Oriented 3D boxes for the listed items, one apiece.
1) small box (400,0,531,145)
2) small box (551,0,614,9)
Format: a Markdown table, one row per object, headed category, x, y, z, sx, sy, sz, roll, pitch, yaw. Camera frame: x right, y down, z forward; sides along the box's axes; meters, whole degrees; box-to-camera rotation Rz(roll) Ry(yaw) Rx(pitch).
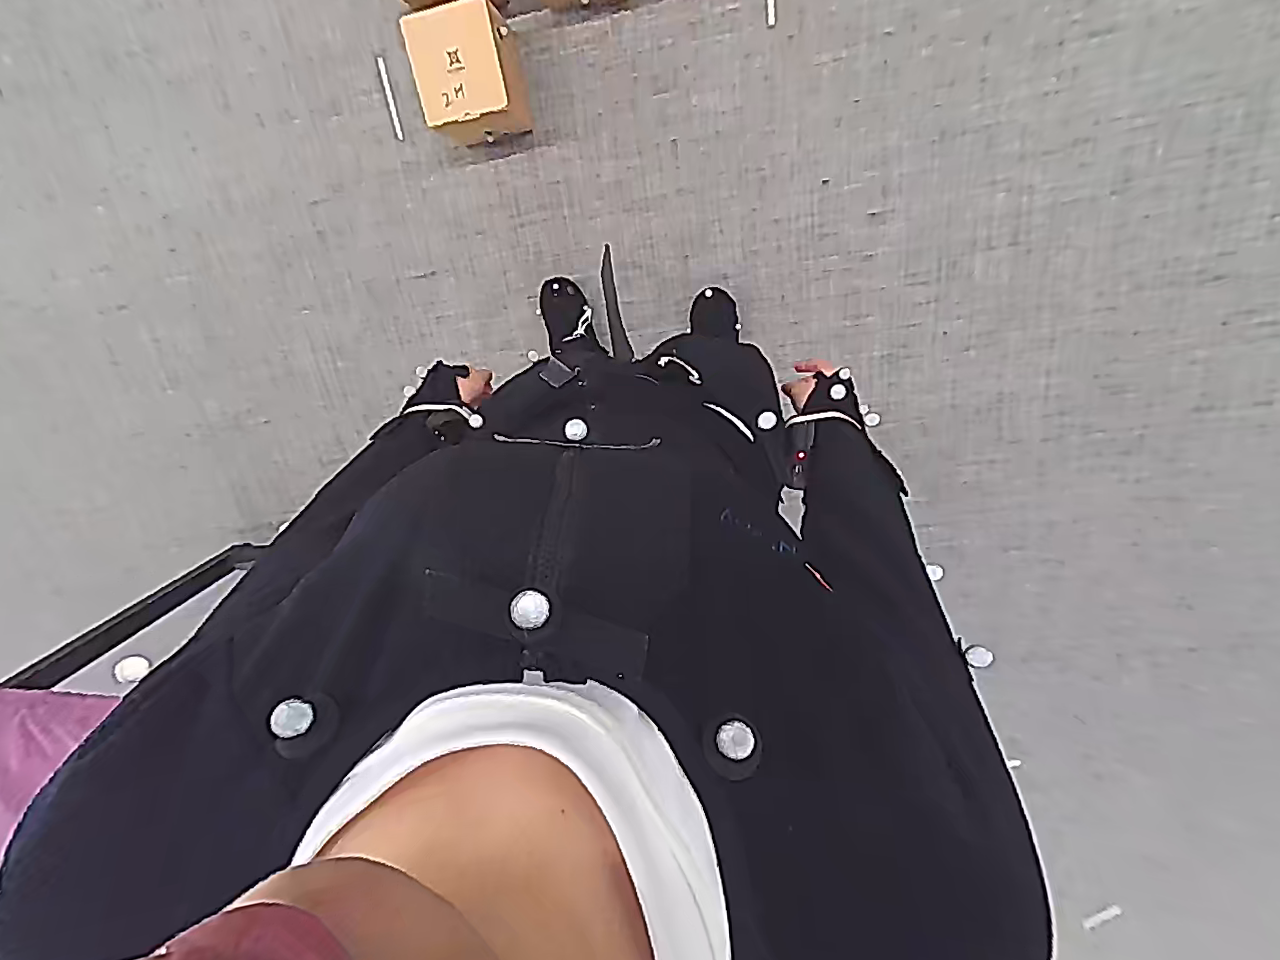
| category | x | y | z | sx | sy | sz | roll | pitch | yaw |
| --- | --- | --- | --- | --- | --- | --- | --- | --- | --- |
| small box | -0.326 | -0.781 | 1.047 | 0.168 | 0.176 | 0.179 | -7 | 110 | 9 |
| small box | -0.112 | -0.981 | 0.949 | 0.168 | 0.176 | 0.179 | -4 | 112 | 7 |
